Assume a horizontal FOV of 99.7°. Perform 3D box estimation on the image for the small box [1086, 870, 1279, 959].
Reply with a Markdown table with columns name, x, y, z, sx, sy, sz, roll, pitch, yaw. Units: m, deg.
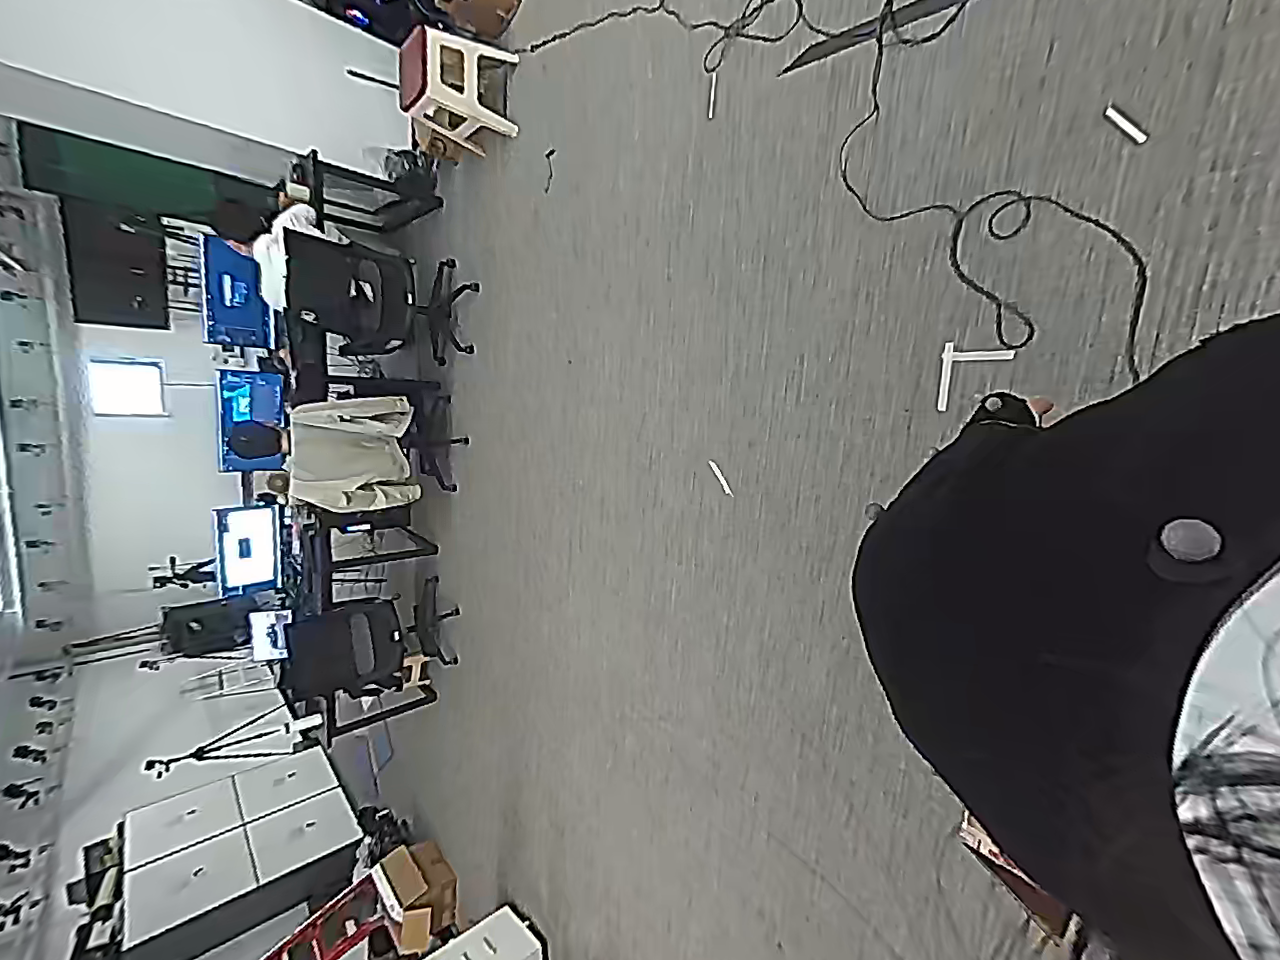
| name | x | y | z | sx | sy | sz | roll | pitch | yaw |
| --- | --- | --- | --- | --- | --- | --- | --- | --- | --- |
| small box | 0.599 | 0.595 | 0.595 | 0.168 | 0.176 | 0.179 | 12 | 100 | 44 |
